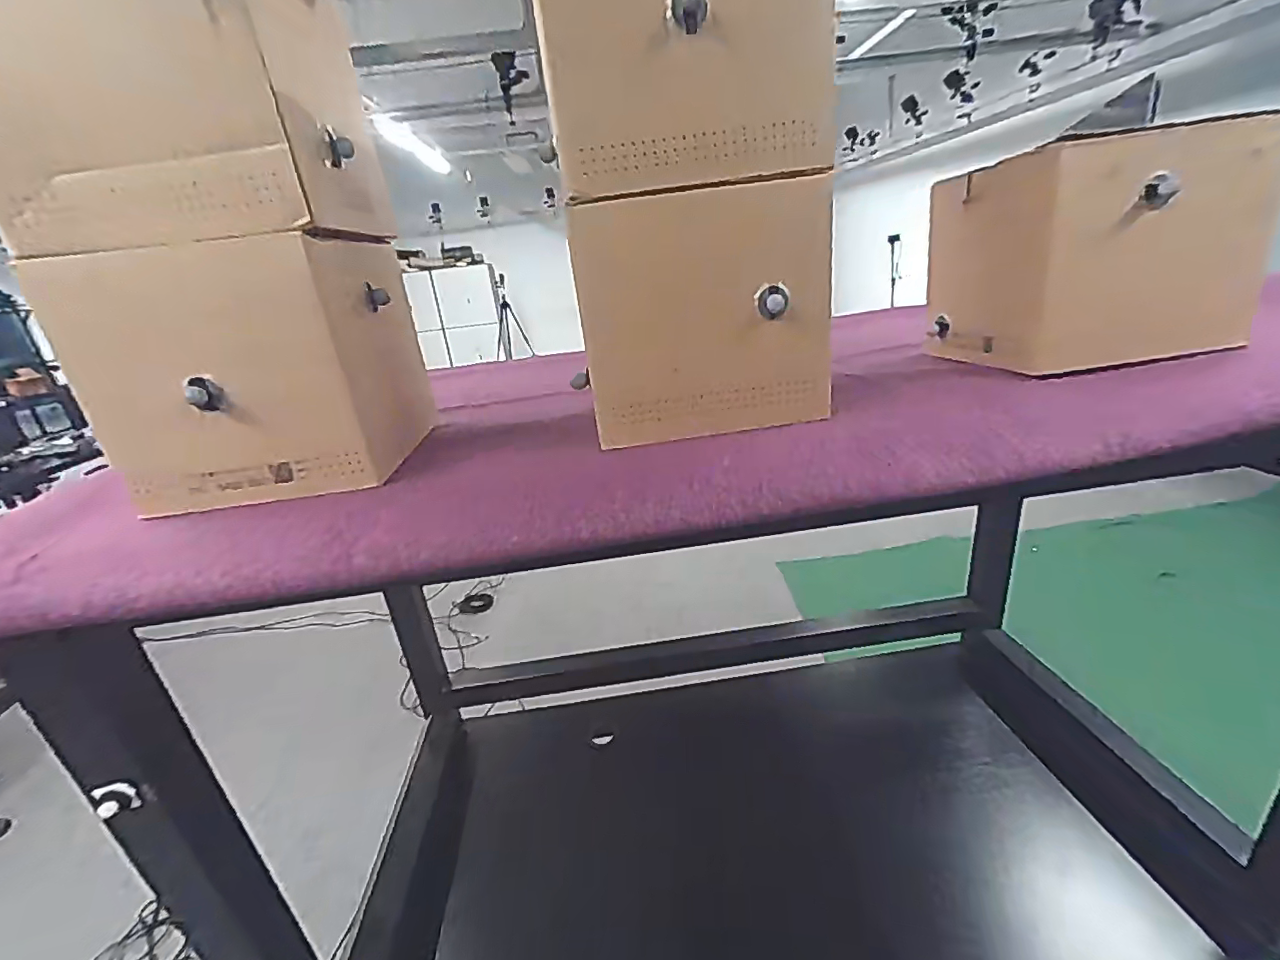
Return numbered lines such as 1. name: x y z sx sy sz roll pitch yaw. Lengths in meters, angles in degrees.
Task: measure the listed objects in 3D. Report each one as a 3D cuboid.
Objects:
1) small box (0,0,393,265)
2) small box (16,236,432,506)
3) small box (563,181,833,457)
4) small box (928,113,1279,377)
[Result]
1. small box: -0.294 -0.236 0.359 0.179 0.176 0.168 -8 23 -4
2. small box: -0.278 -0.086 0.420 0.168 0.176 0.179 -7 22 -4
3. small box: 0.039 -0.130 0.443 0.179 0.176 0.168 -9 21 -3
4. small box: 0.381 -0.191 0.477 0.179 0.176 0.168 -8 20 -1
